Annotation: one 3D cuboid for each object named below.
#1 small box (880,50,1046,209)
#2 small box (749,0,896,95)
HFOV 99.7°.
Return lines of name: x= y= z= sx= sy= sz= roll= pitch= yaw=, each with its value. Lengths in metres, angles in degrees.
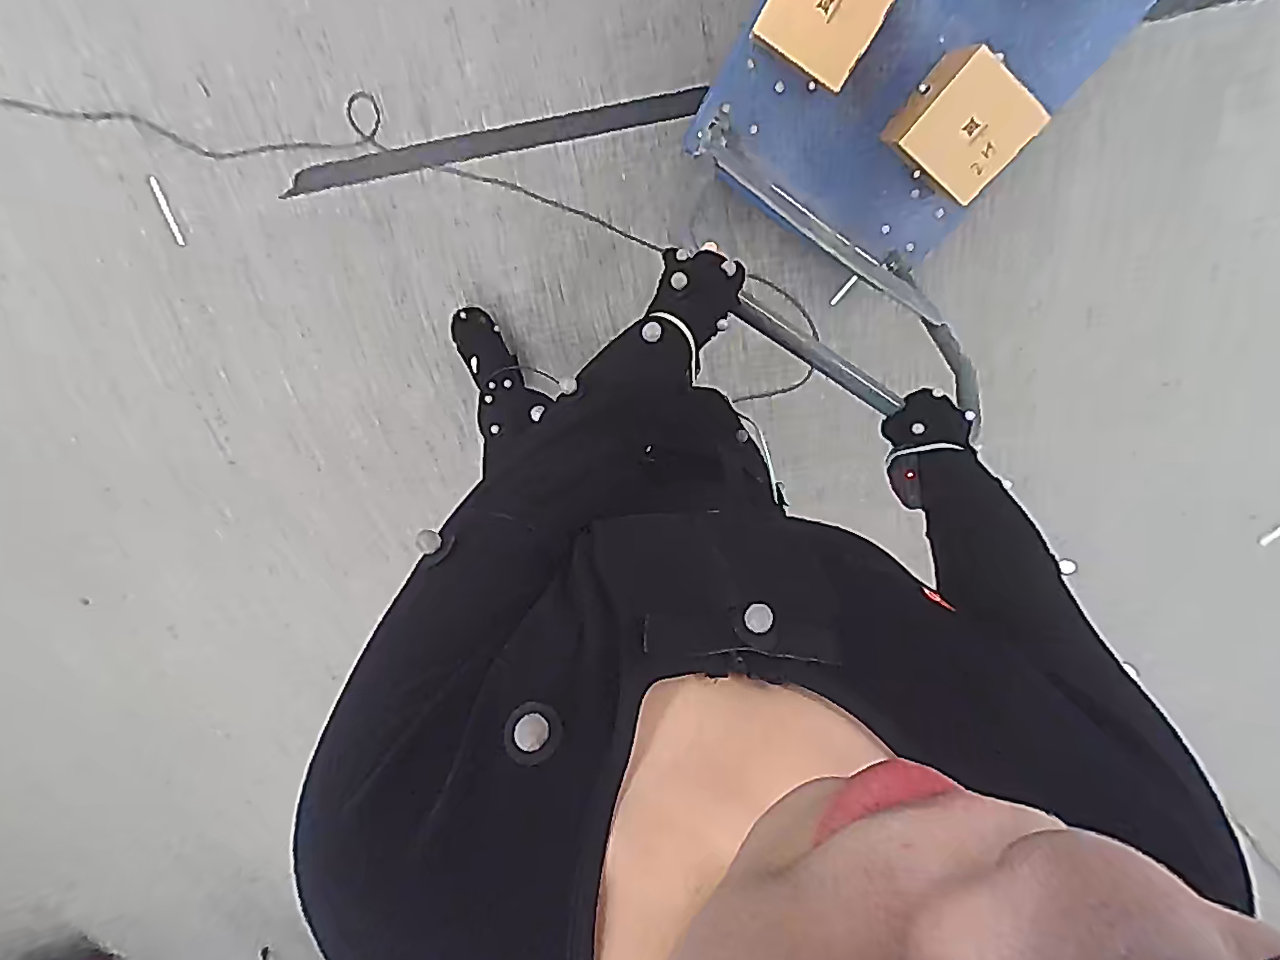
small box: x=0.569 y=-0.630 z=0.980 sx=0.179 sy=0.176 sz=0.168 roll=33 pitch=124 yaw=-15
small box: x=0.300 y=-0.783 z=0.911 sx=0.179 sy=0.176 sz=0.168 roll=26 pitch=125 yaw=-12
